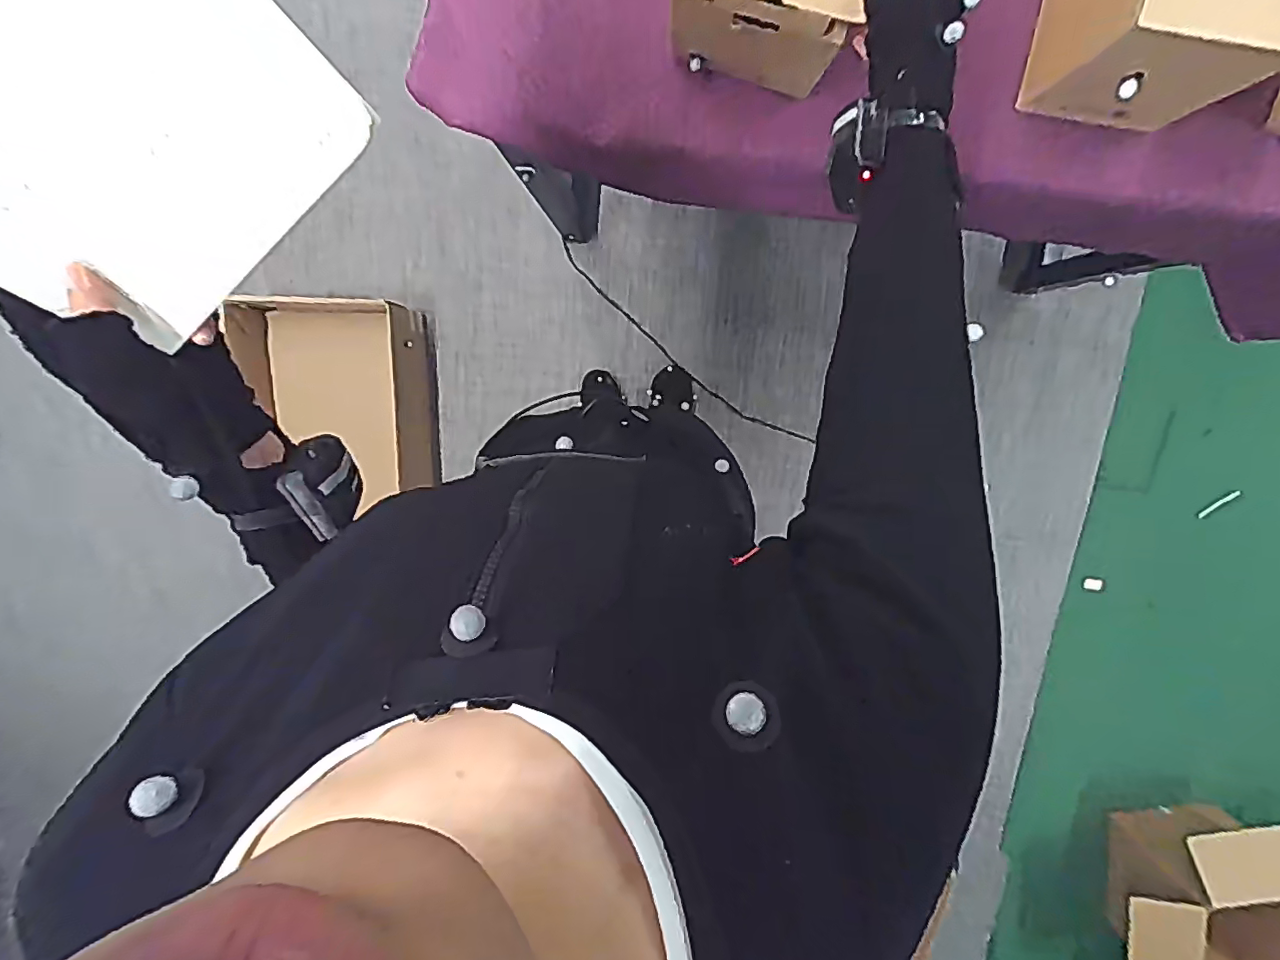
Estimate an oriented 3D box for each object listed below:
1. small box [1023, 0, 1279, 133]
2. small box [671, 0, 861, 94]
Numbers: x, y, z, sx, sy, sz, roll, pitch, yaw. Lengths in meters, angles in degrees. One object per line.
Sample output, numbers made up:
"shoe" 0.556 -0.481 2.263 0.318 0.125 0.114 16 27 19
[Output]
"small box" 0.530 -0.480 0.539 0.168 0.176 0.179 10 103 0
"small box" 0.134 -0.511 0.521 0.168 0.176 0.179 16 111 -3
